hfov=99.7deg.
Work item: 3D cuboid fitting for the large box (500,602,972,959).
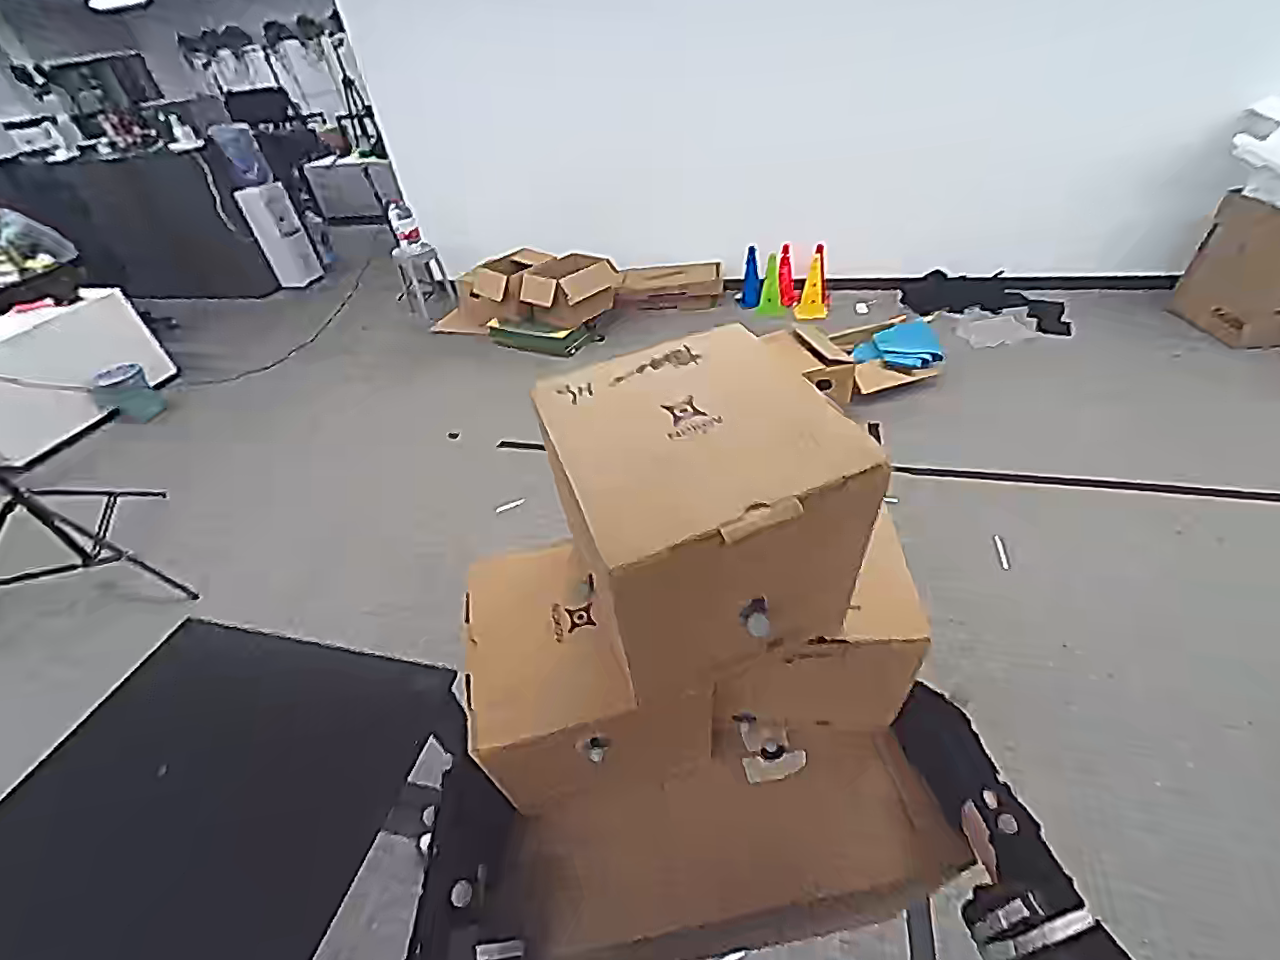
[{"bbox_3d":[0.070,0.342,0.642,0.408,0.320,0.320,-10,45,-3],"label":"large box"}]

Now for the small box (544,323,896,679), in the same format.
[{"bbox_3d":[0.045,0.019,0.392,0.168,0.176,0.179,-18,46,-11],"label":"small box"}]

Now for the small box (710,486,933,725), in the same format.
[{"bbox_3d":[0.149,0.114,0.513,0.168,0.176,0.179,-2,43,7],"label":"small box"}]
